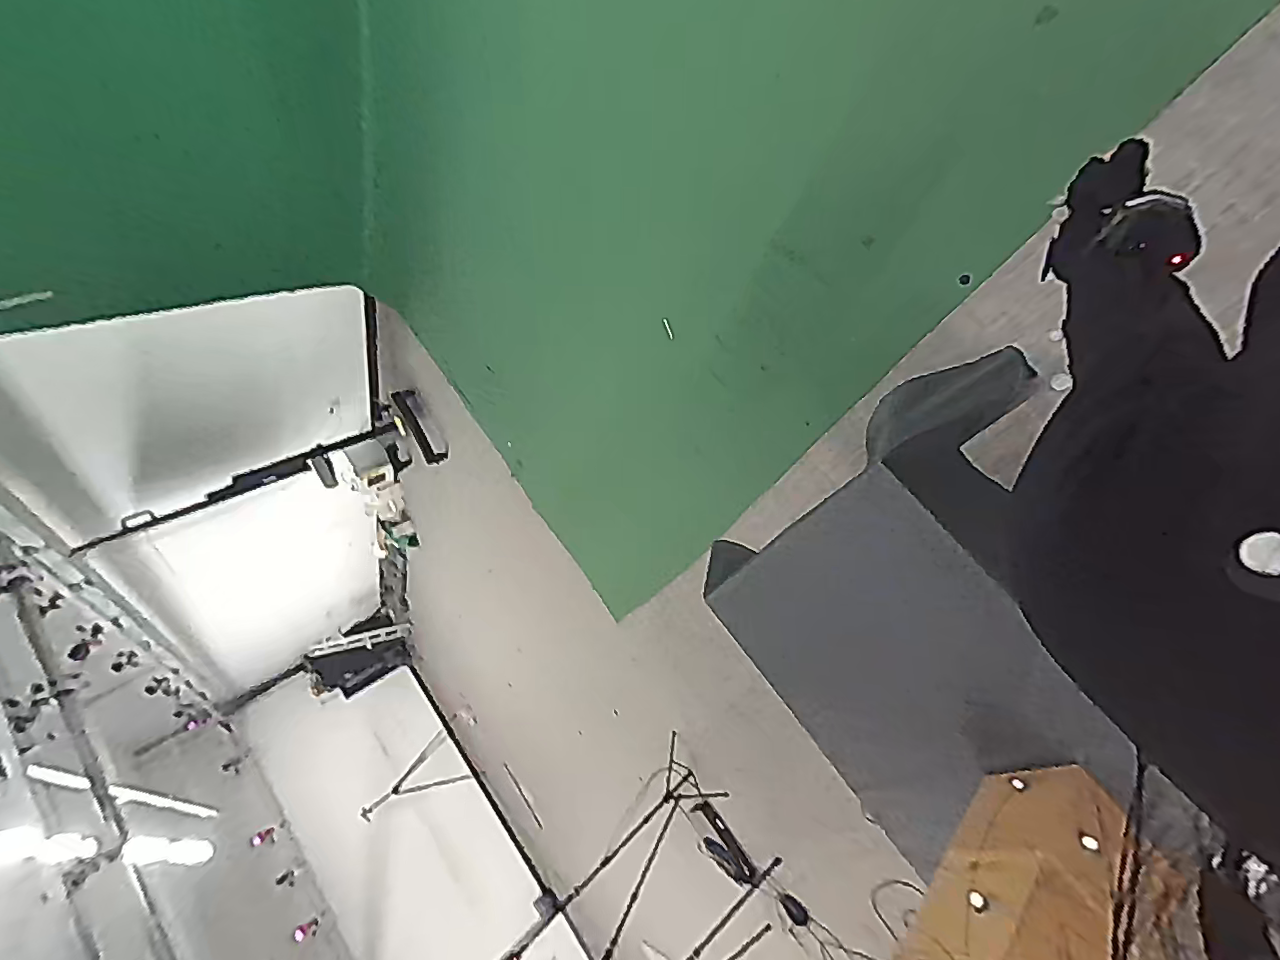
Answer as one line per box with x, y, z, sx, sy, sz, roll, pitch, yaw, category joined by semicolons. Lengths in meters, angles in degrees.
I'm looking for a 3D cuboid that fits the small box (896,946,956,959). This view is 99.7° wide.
0.369;0.672;0.595;0.179;0.176;0.168;53;143;14;small box

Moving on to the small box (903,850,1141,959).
0.487;0.606;0.687;0.179;0.176;0.168;51;143;15;small box
